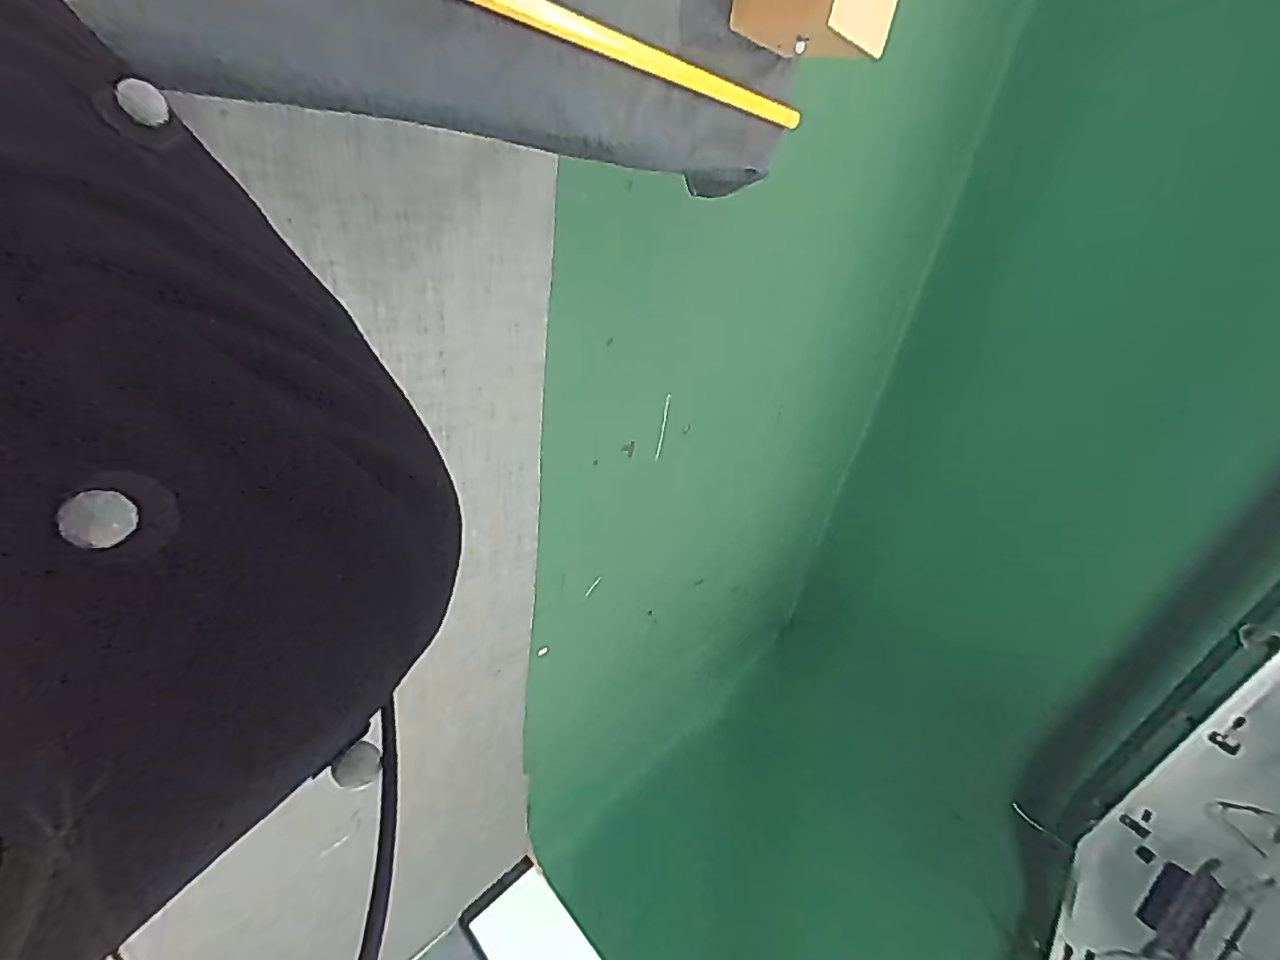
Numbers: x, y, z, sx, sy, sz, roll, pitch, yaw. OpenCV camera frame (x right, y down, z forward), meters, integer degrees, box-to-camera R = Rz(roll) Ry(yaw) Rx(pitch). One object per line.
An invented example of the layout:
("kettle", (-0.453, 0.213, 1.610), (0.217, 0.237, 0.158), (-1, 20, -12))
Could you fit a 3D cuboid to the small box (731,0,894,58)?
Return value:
("small box", (0.249, -0.717, 0.753), (0.168, 0.176, 0.179), (-19, 130, -42))
